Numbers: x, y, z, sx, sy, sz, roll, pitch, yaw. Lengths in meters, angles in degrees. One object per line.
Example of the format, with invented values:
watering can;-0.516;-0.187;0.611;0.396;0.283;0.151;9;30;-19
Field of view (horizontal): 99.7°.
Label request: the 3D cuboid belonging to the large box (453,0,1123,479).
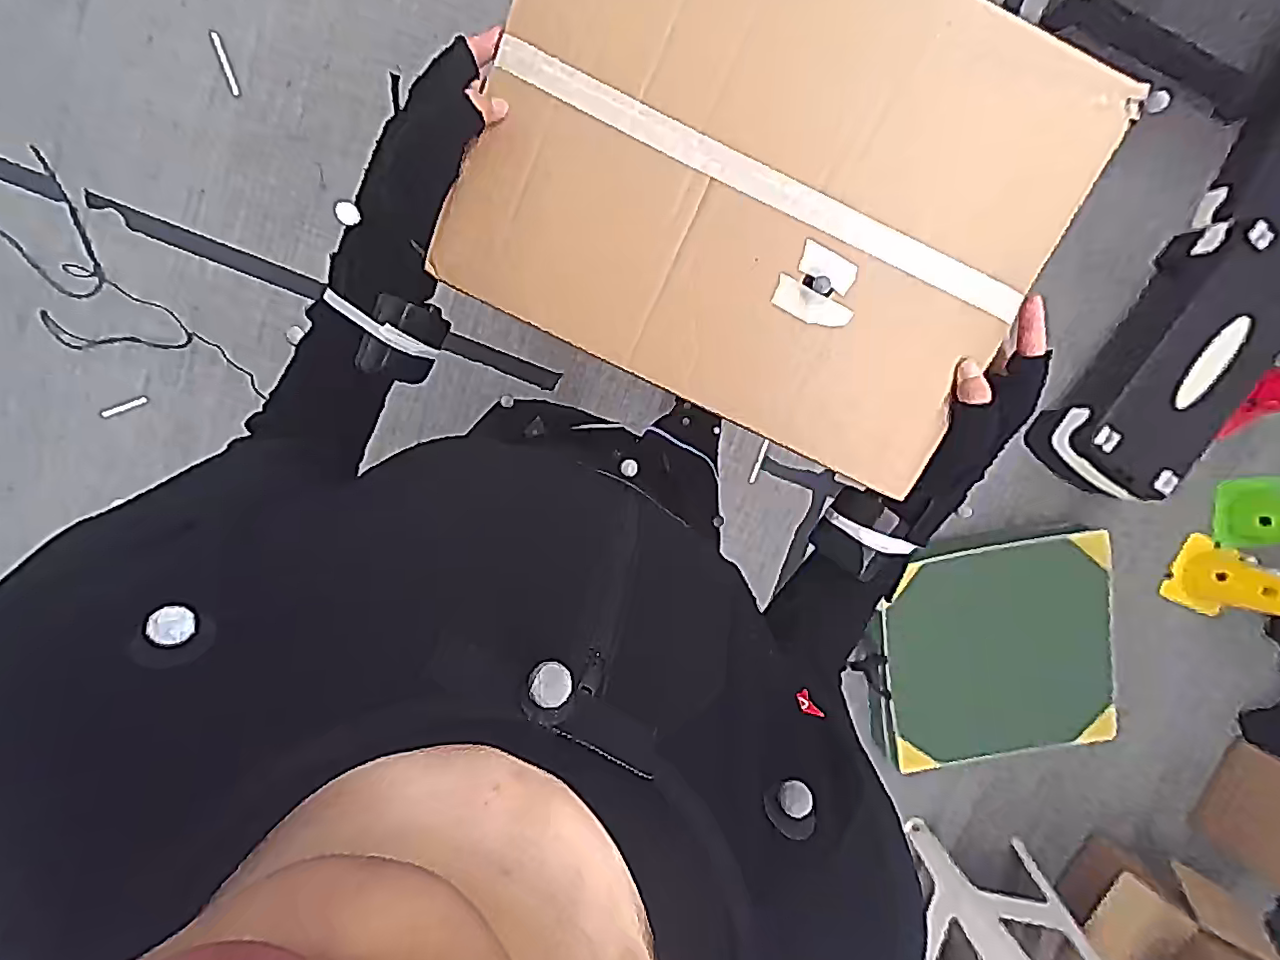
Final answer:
large box;0.099;-0.245;0.540;0.408;0.320;0.320;25;103;-4
